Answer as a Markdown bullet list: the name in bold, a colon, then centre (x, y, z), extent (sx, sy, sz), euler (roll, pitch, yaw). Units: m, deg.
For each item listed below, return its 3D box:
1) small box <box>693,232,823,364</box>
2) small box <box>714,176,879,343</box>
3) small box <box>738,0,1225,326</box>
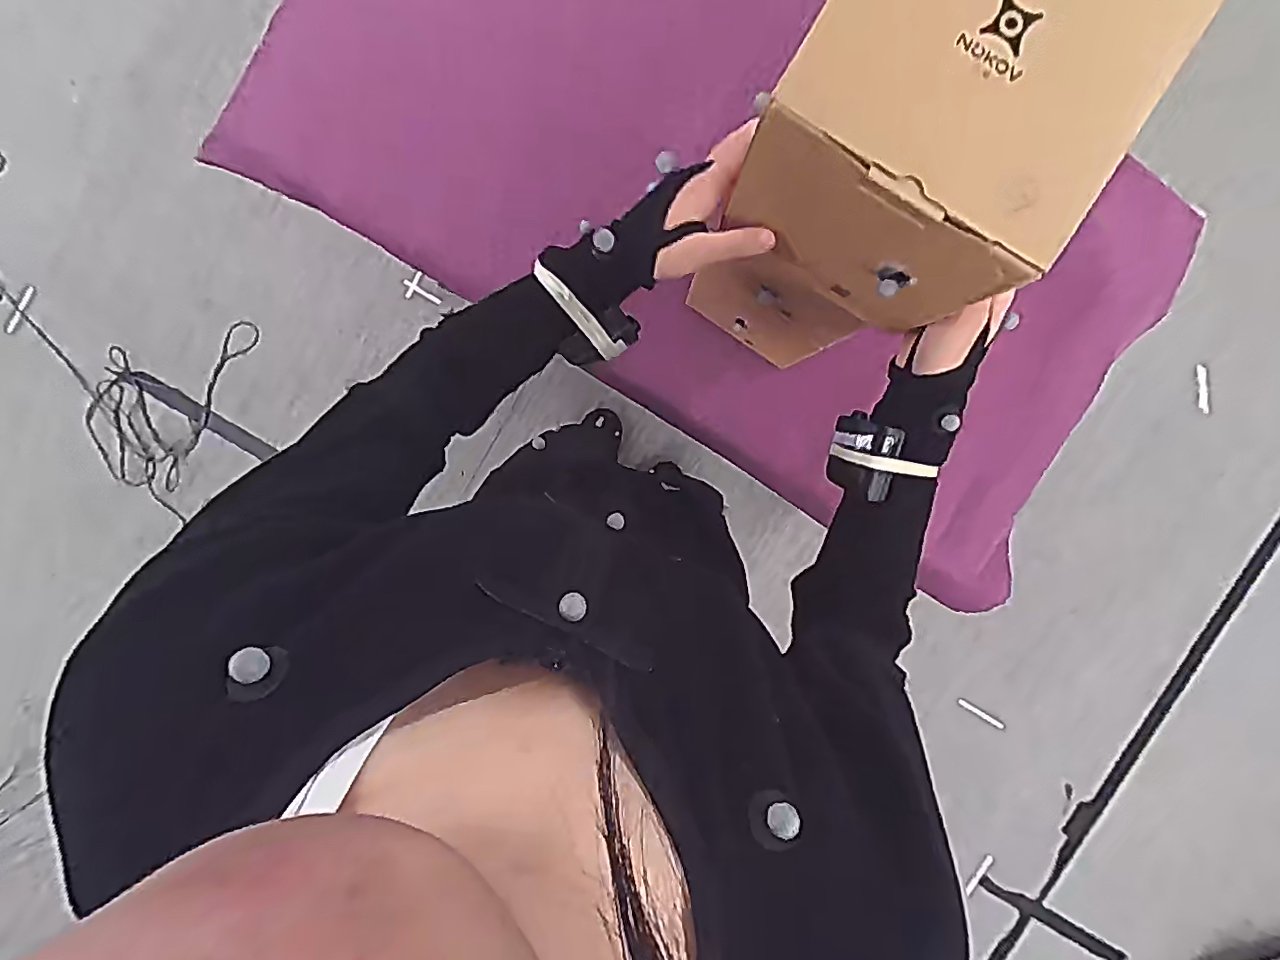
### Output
- **small box**: centre (0.179, -0.264, 0.666), extent (0.168, 0.176, 0.179), euler (34, 93, -3)
- **small box**: centre (0.185, -0.253, 0.503), extent (0.168, 0.176, 0.179), euler (34, 94, -3)
- **small box**: centre (0.178, -0.222, 0.342), extent (0.168, 0.176, 0.179), euler (30, 93, -3)
